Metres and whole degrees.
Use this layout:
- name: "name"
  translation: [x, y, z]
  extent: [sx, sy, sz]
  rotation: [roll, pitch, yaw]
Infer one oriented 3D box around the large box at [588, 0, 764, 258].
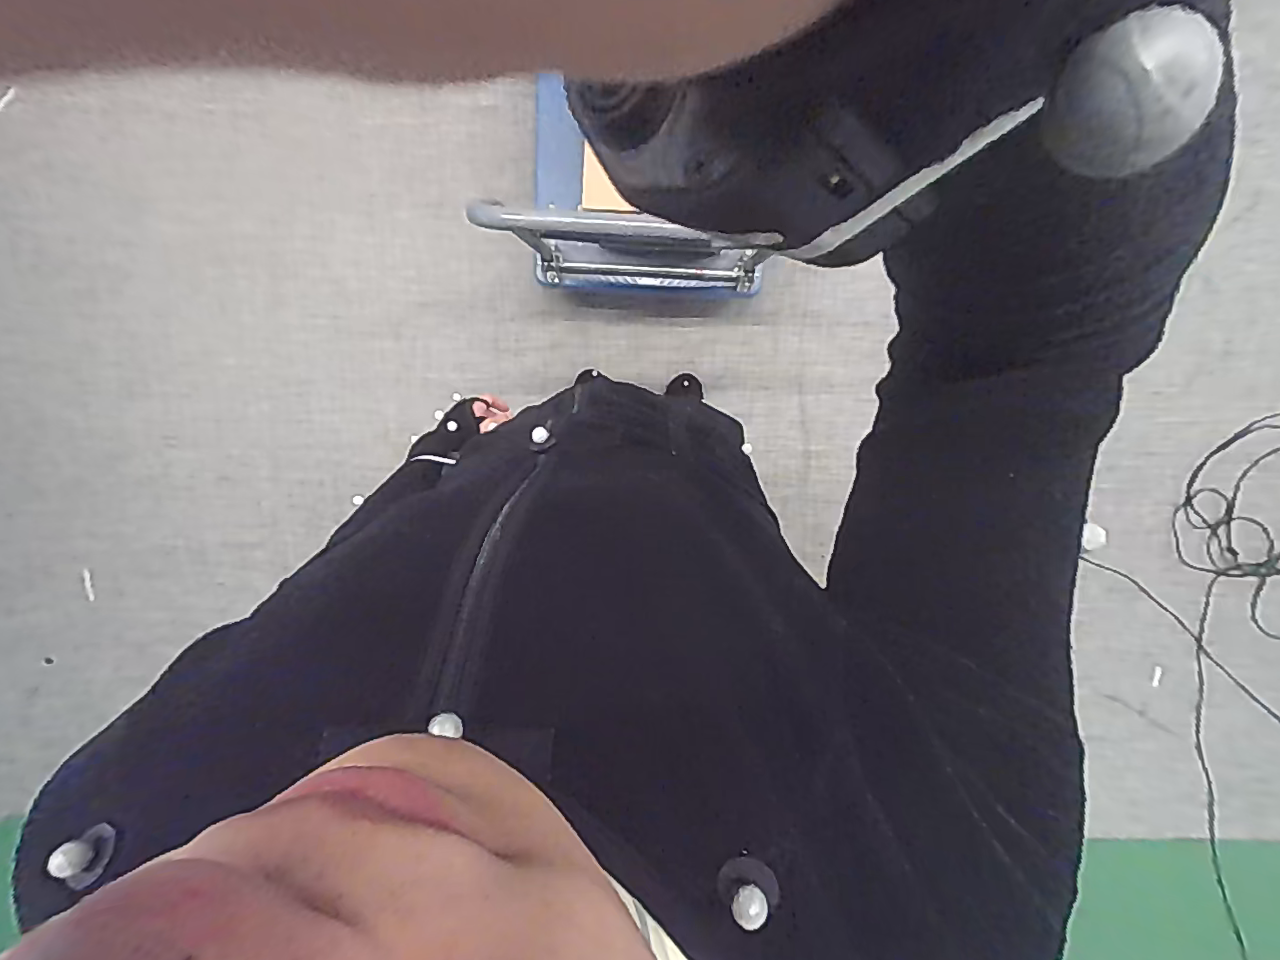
- name: "large box"
  translation: [0.068, -0.720, 1.153]
  extent: [0.320, 0.320, 0.408]
  rotation: [4, 100, 0]
